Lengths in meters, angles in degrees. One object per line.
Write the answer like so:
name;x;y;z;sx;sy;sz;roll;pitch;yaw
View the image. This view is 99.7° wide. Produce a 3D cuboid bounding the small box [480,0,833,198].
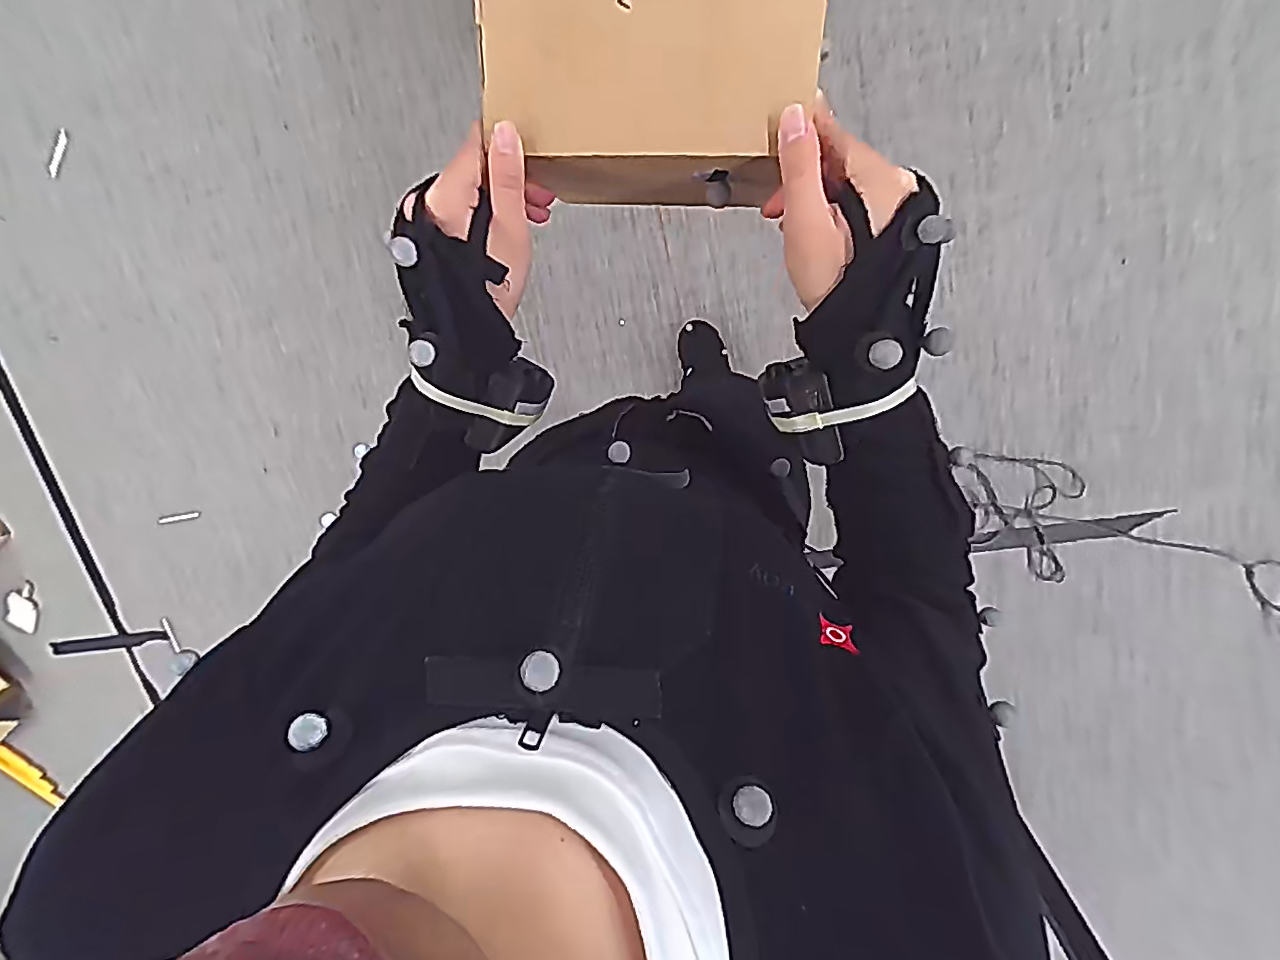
small box;0.017;-0.279;0.331;0.179;0.176;0.168;5;109;8
